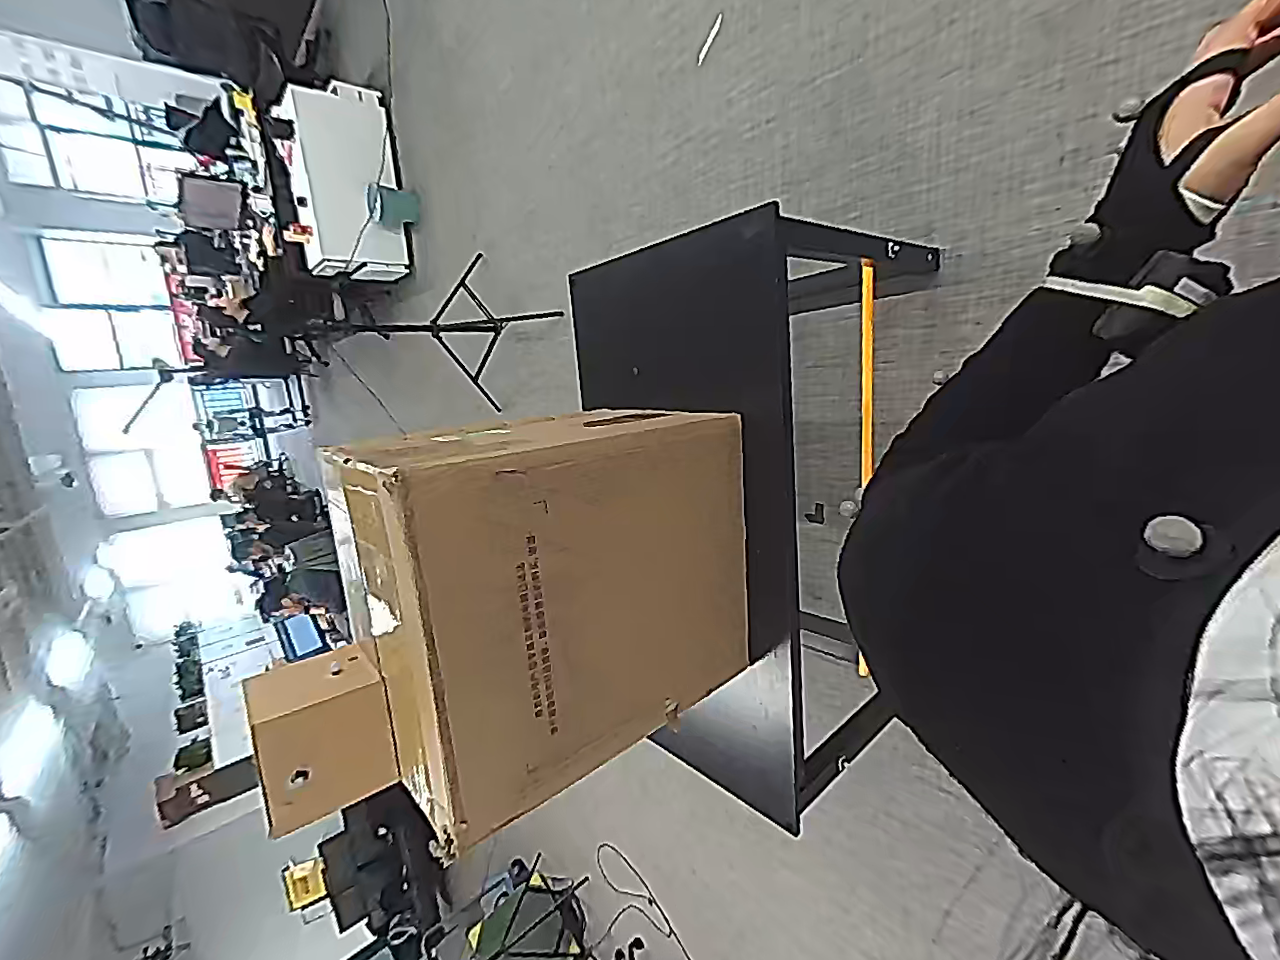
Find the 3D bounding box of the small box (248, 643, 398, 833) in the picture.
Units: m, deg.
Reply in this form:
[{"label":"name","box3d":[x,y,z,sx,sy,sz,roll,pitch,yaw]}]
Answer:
[{"label":"small box","box3d":[-0.486,0.382,0.836,0.168,0.176,0.179,10,106,50]}]
